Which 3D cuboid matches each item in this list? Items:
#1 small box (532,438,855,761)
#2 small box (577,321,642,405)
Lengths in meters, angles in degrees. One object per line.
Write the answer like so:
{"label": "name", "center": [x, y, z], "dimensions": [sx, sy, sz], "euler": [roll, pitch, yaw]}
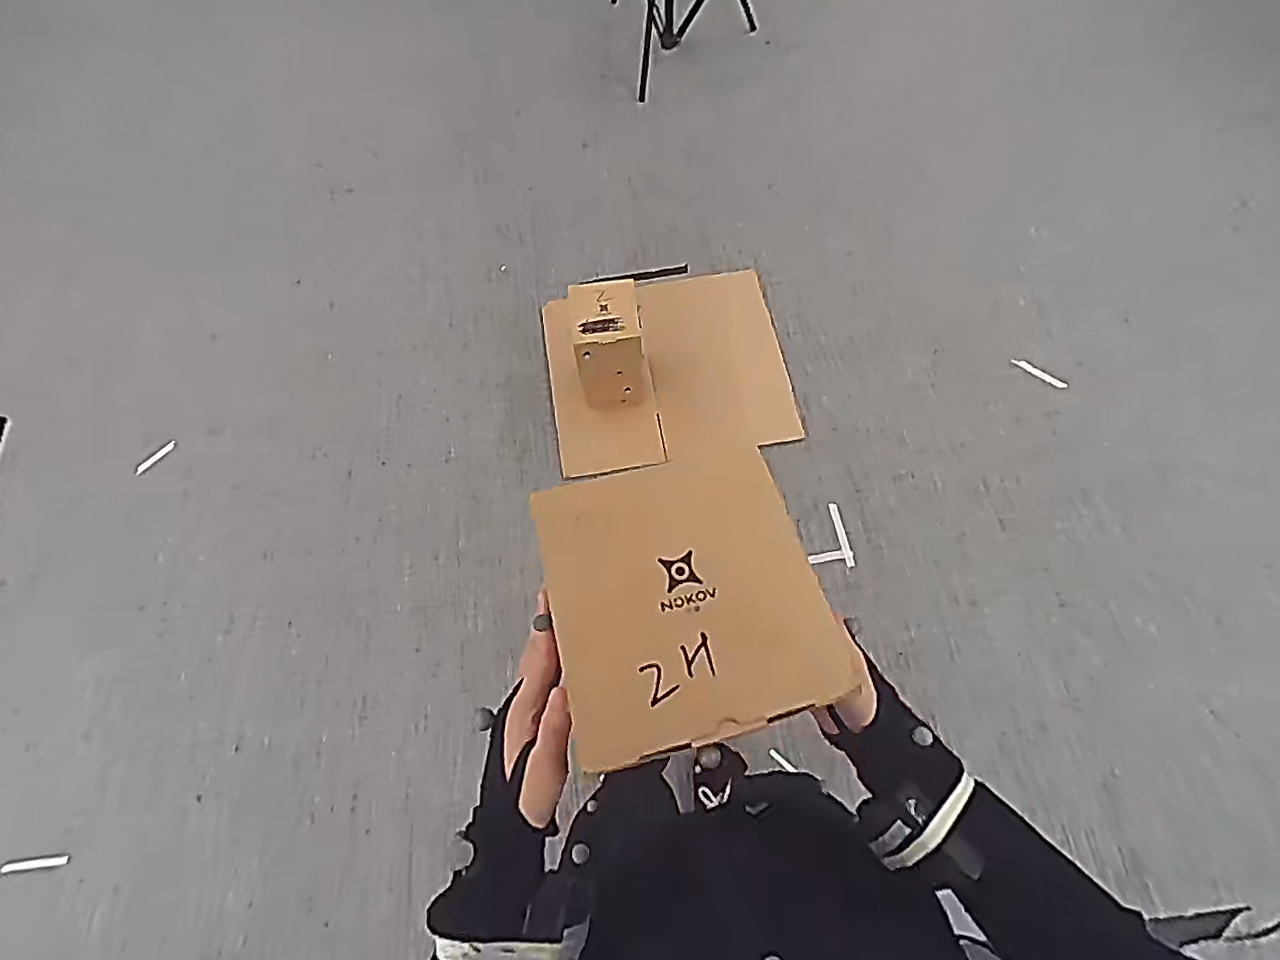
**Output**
{"label": "small box", "center": [0.023, 0.097, 0.408], "dimensions": [0.168, 0.176, 0.179], "euler": [-13, 64, -8]}
{"label": "small box", "center": [-0.083, -0.326, 1.538], "dimensions": [0.168, 0.176, 0.179], "euler": [-5, 69, -1]}
